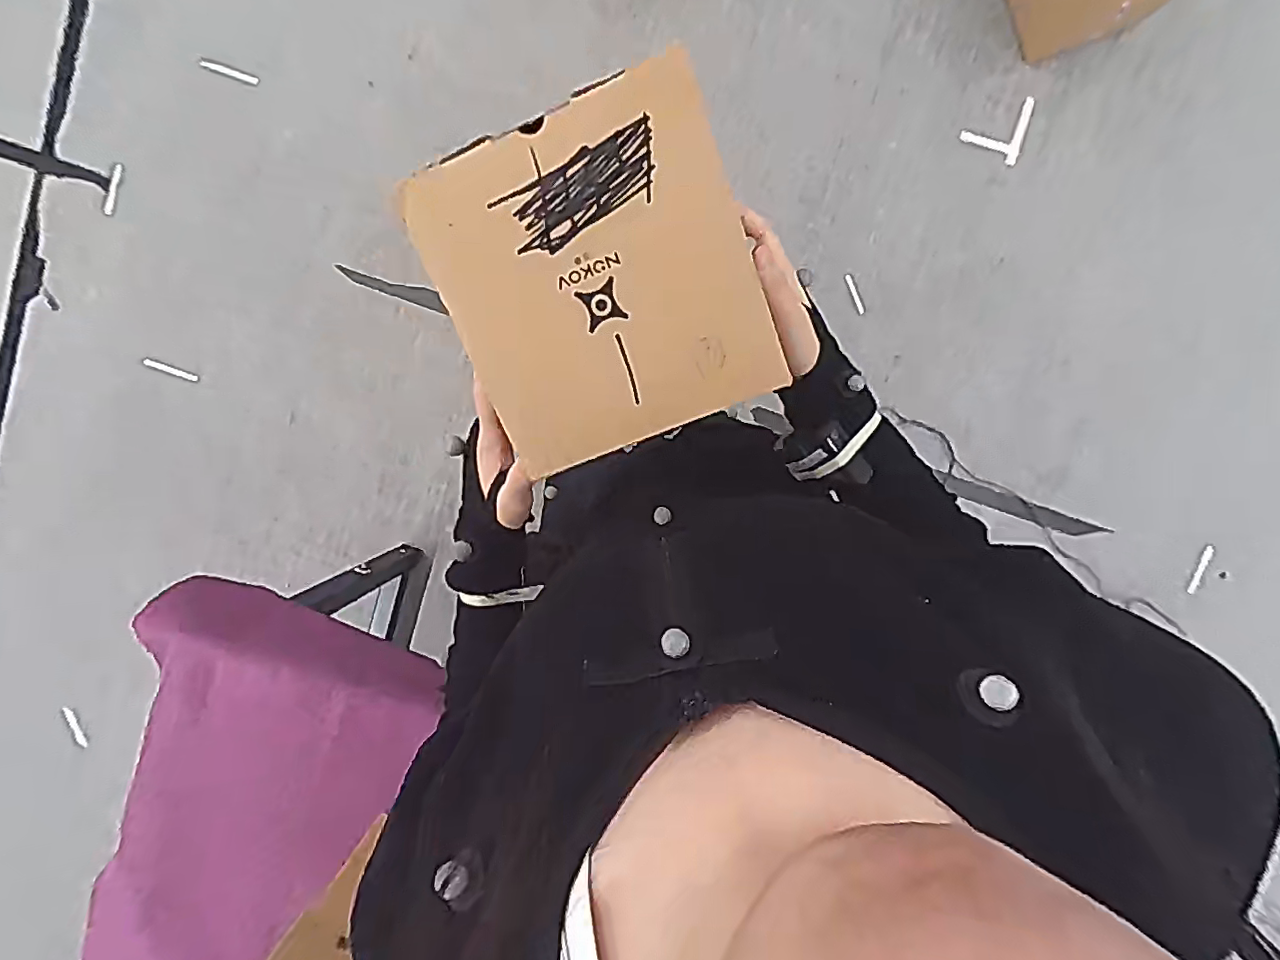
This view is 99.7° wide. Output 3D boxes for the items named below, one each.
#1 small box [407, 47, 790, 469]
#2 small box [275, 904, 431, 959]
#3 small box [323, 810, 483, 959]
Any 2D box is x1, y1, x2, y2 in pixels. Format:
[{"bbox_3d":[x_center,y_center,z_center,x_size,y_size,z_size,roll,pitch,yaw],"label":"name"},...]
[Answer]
[{"bbox_3d":[-0.016,-0.132,0.370,0.168,0.176,0.179,-19,107,10],"label":"small box"},{"bbox_3d":[-0.347,0.618,0.582,0.168,0.176,0.179,20,96,0],"label":"small box"},{"bbox_3d":[-0.332,0.602,0.743,0.168,0.176,0.179,18,96,0],"label":"small box"}]
